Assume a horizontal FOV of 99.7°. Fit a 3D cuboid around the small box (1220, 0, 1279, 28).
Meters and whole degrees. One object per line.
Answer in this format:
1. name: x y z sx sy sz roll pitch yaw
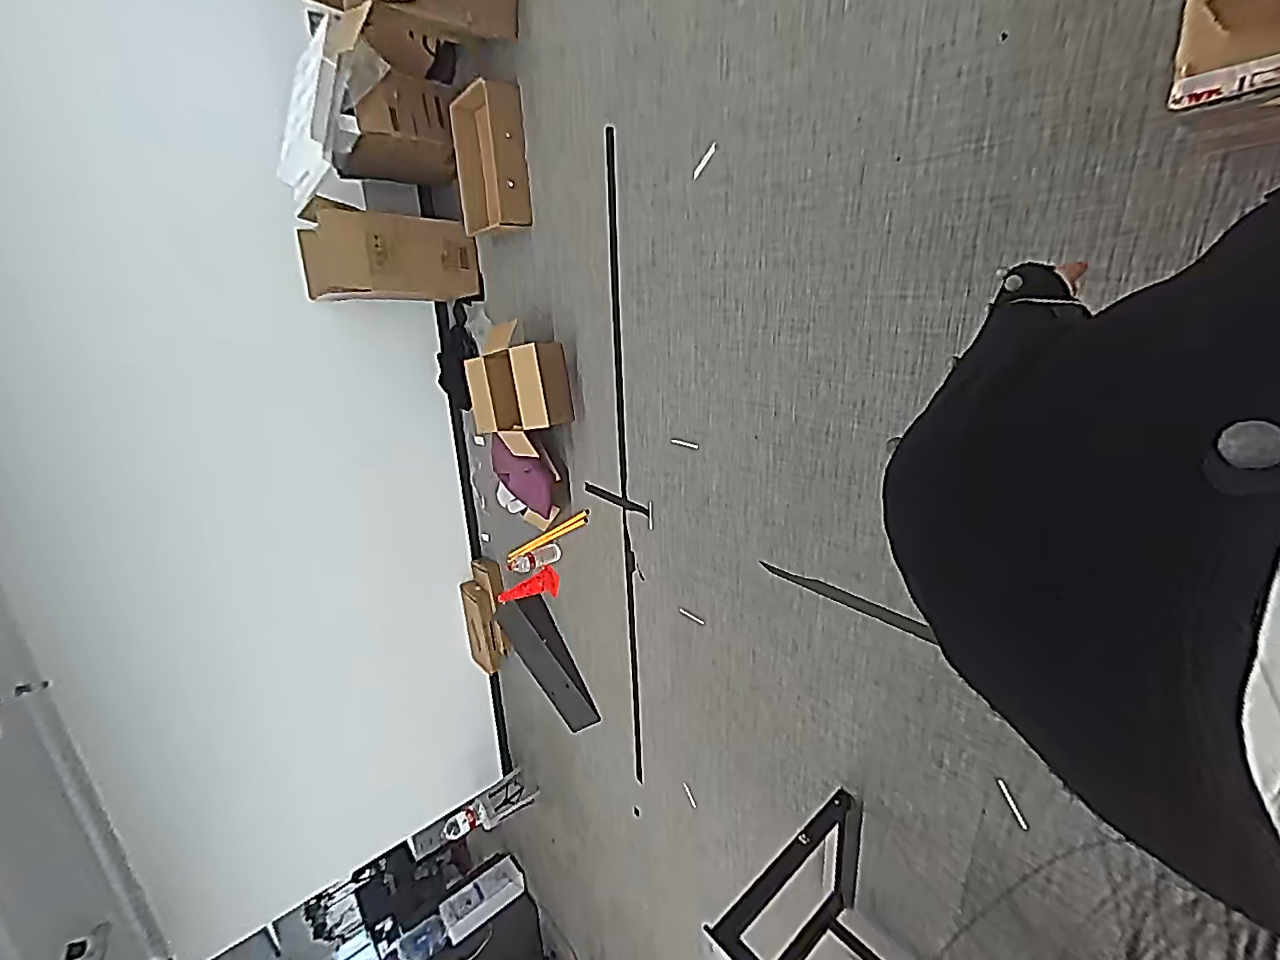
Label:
1. small box: 0.677 -0.577 0.510 0.168 0.176 0.179 14 118 50
